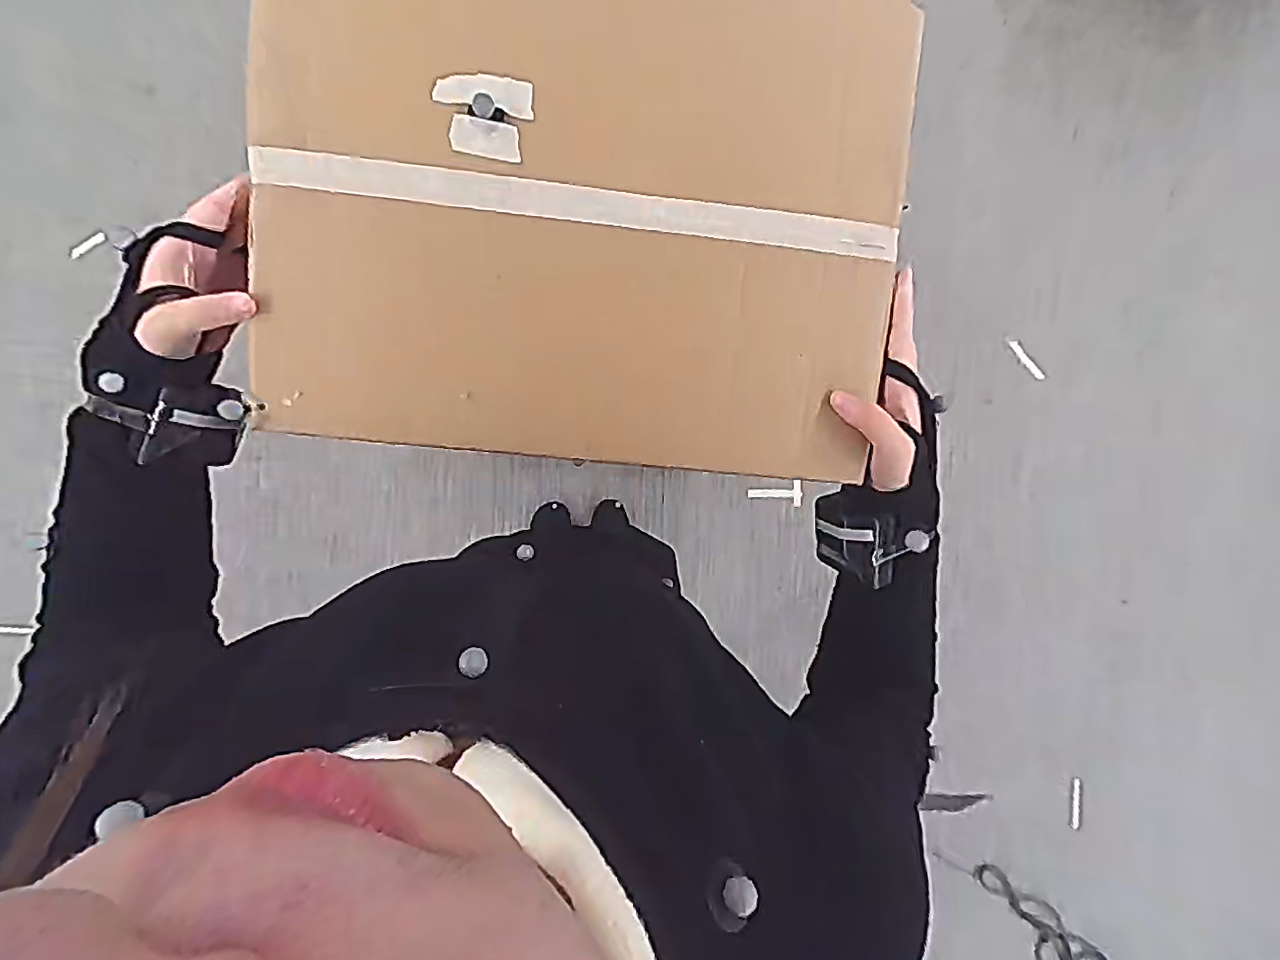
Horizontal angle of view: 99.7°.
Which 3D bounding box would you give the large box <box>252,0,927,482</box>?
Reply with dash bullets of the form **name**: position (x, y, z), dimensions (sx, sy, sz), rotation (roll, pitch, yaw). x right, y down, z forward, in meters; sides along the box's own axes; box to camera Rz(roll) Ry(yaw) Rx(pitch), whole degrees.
- **large box**: position (-0.038, -0.182, 0.482), dimensions (0.408, 0.320, 0.320), rotation (5, 96, -4)
